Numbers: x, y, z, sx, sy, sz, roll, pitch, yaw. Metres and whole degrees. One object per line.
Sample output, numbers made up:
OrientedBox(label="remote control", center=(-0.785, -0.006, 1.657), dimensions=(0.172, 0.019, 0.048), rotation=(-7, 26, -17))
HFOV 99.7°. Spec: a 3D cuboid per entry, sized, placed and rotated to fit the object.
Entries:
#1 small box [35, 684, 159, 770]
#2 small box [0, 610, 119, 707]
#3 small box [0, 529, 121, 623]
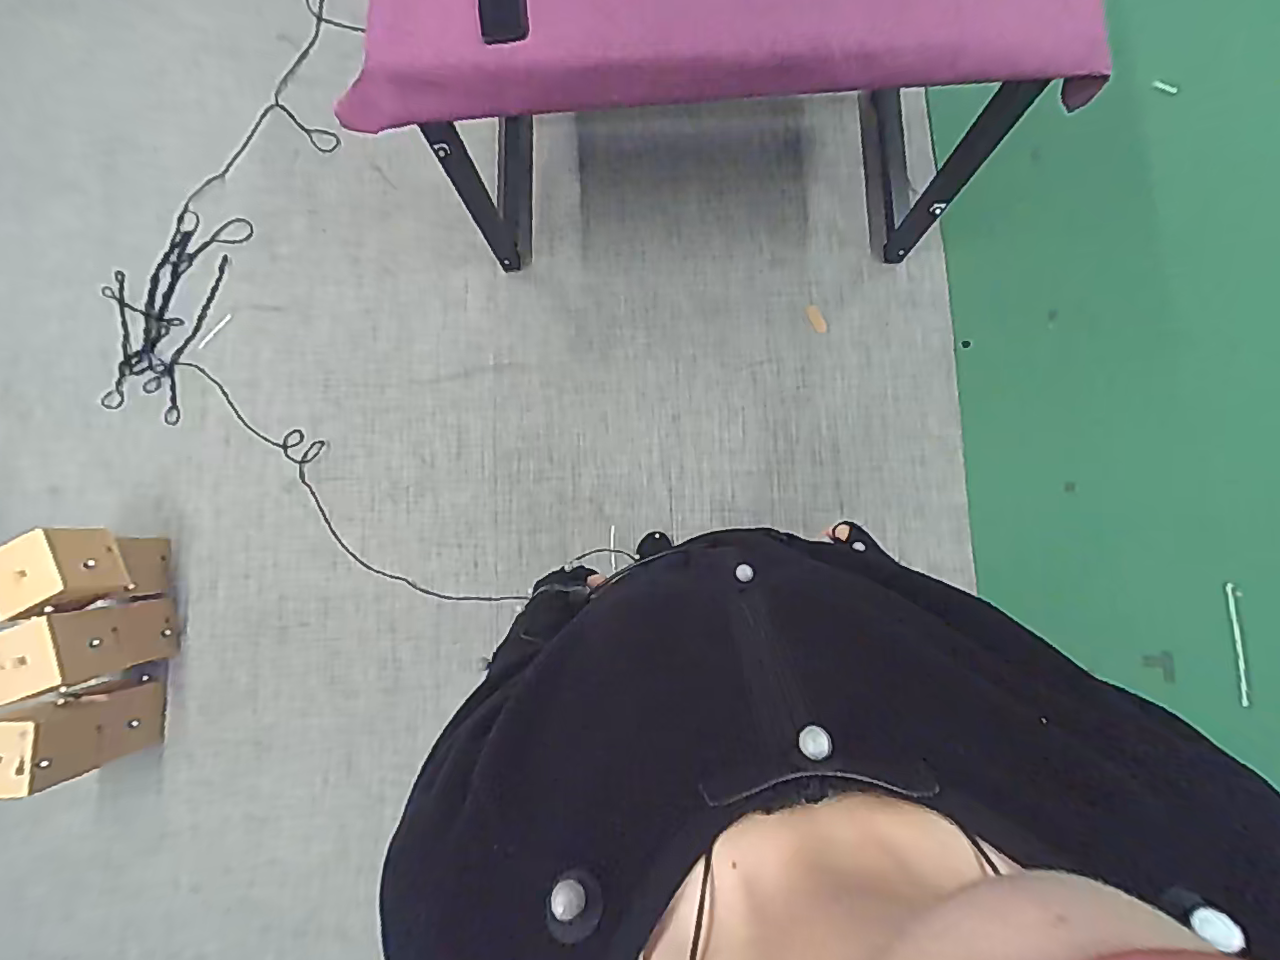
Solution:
OrientedBox(label="small box", center=(-1.442, 0.651, 1.447), dimensions=(0.168, 0.176, 0.179), rotation=(-2, 84, 3))
OrientedBox(label="small box", center=(-1.421, 0.426, 1.309), dimensions=(0.179, 0.176, 0.168), rotation=(-19, 83, 1))
OrientedBox(label="small box", center=(-1.440, 0.230, 1.329), dimensions=(0.179, 0.176, 0.168), rotation=(-27, 83, 0))
